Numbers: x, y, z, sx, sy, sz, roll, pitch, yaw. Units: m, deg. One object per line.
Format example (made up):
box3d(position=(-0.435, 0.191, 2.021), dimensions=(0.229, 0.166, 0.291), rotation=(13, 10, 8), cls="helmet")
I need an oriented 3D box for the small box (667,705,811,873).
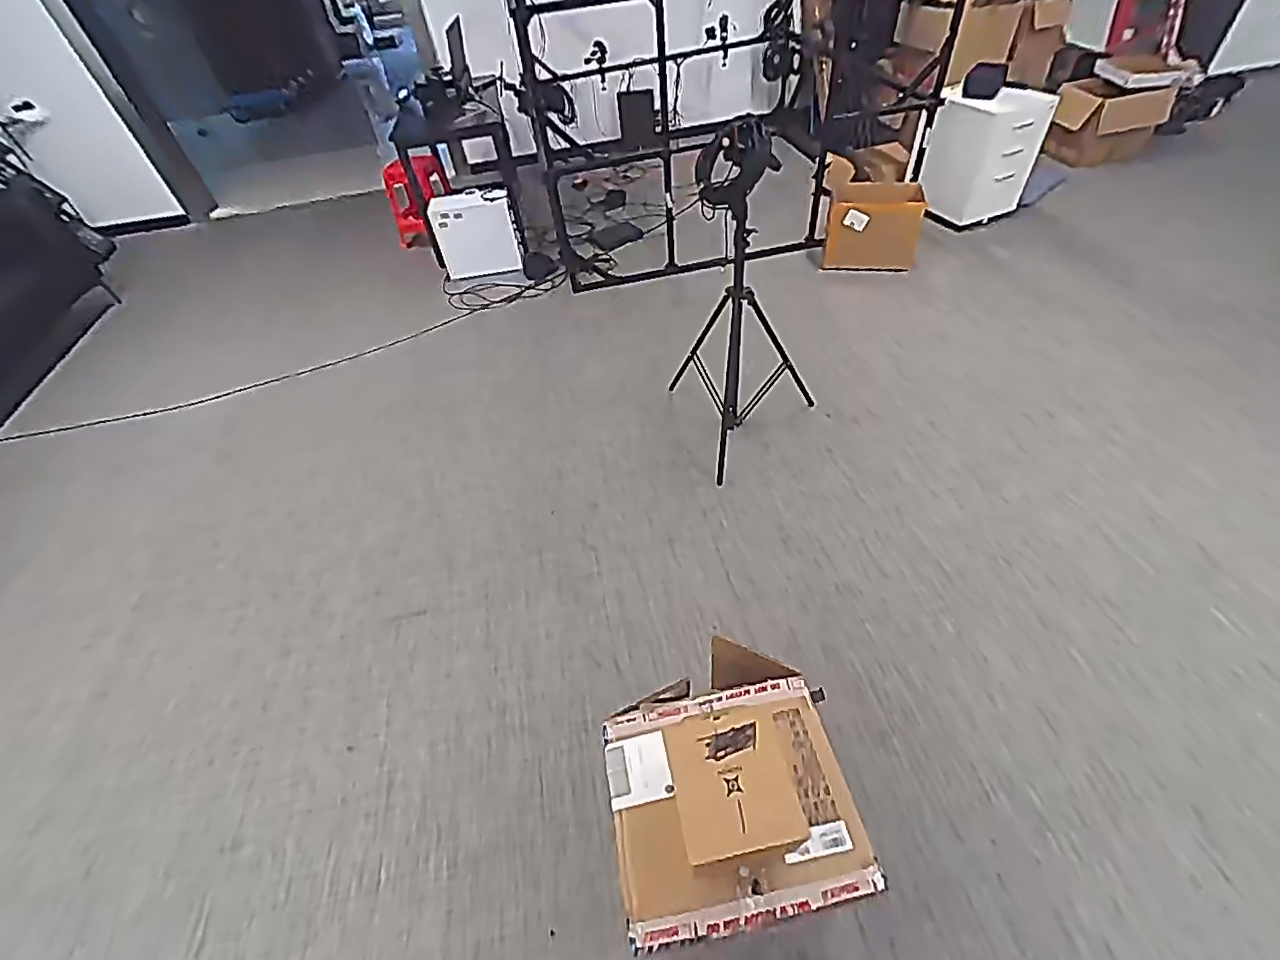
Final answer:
box3d(position=(0.139, 0.470, 0.821), dimensions=(0.168, 0.176, 0.179), rotation=(-11, 50, -3), cls="small box")
